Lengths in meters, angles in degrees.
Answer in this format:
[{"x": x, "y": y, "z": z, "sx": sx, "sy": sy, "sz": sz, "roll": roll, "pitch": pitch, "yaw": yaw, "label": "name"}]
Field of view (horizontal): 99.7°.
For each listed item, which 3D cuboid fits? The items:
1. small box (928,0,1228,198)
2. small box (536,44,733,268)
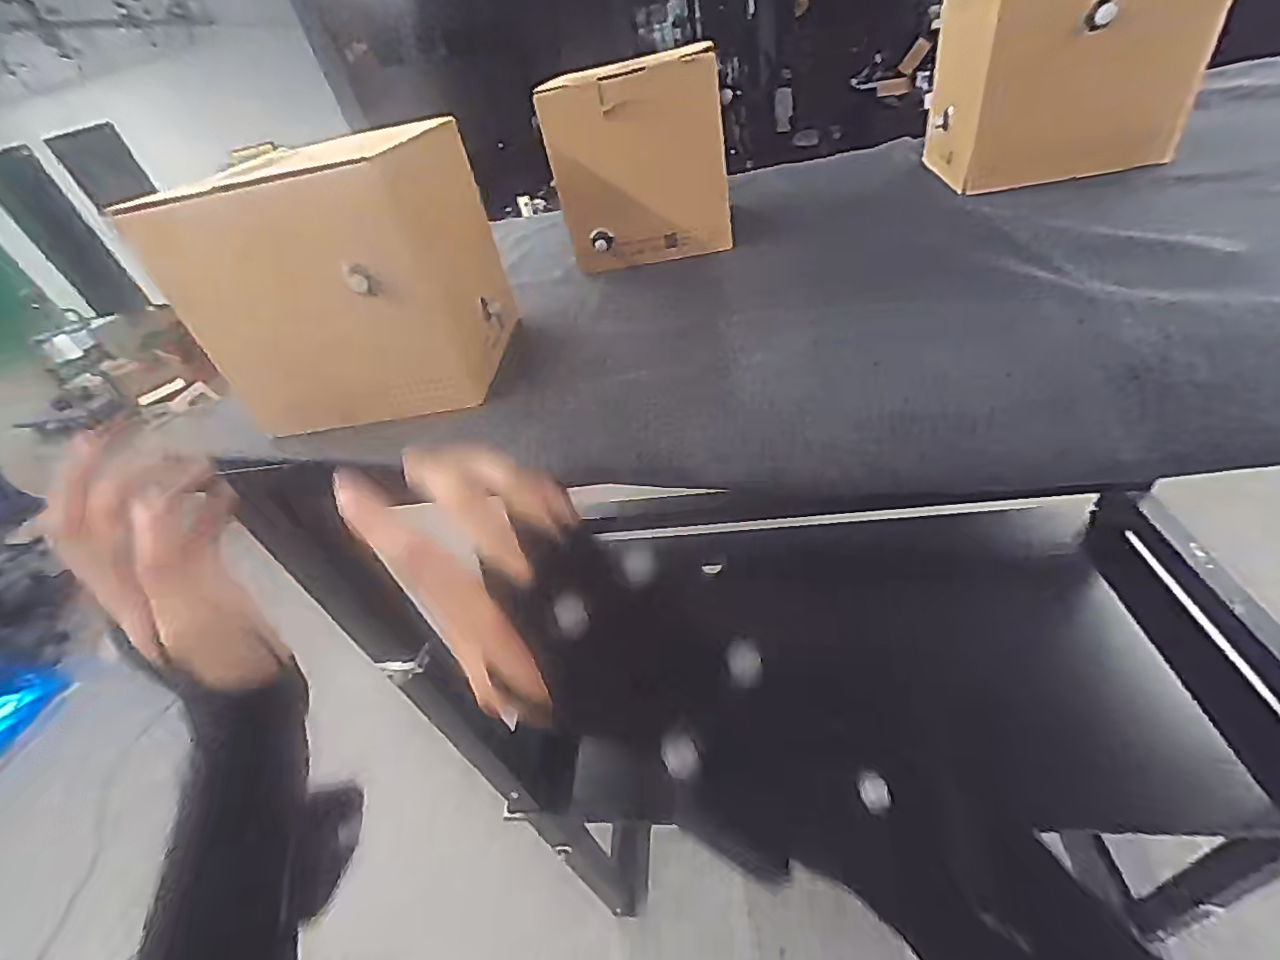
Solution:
[{"x": 0.405, "y": -0.399, "z": 0.529, "sx": 0.179, "sy": 0.176, "sz": 0.168, "roll": -4, "pitch": 40, "yaw": 14, "label": "small box"}, {"x": 0.008, "y": -0.342, "z": 0.584, "sx": 0.168, "sy": 0.176, "sz": 0.179, "roll": -6, "pitch": 39, "yaw": 11, "label": "small box"}]
